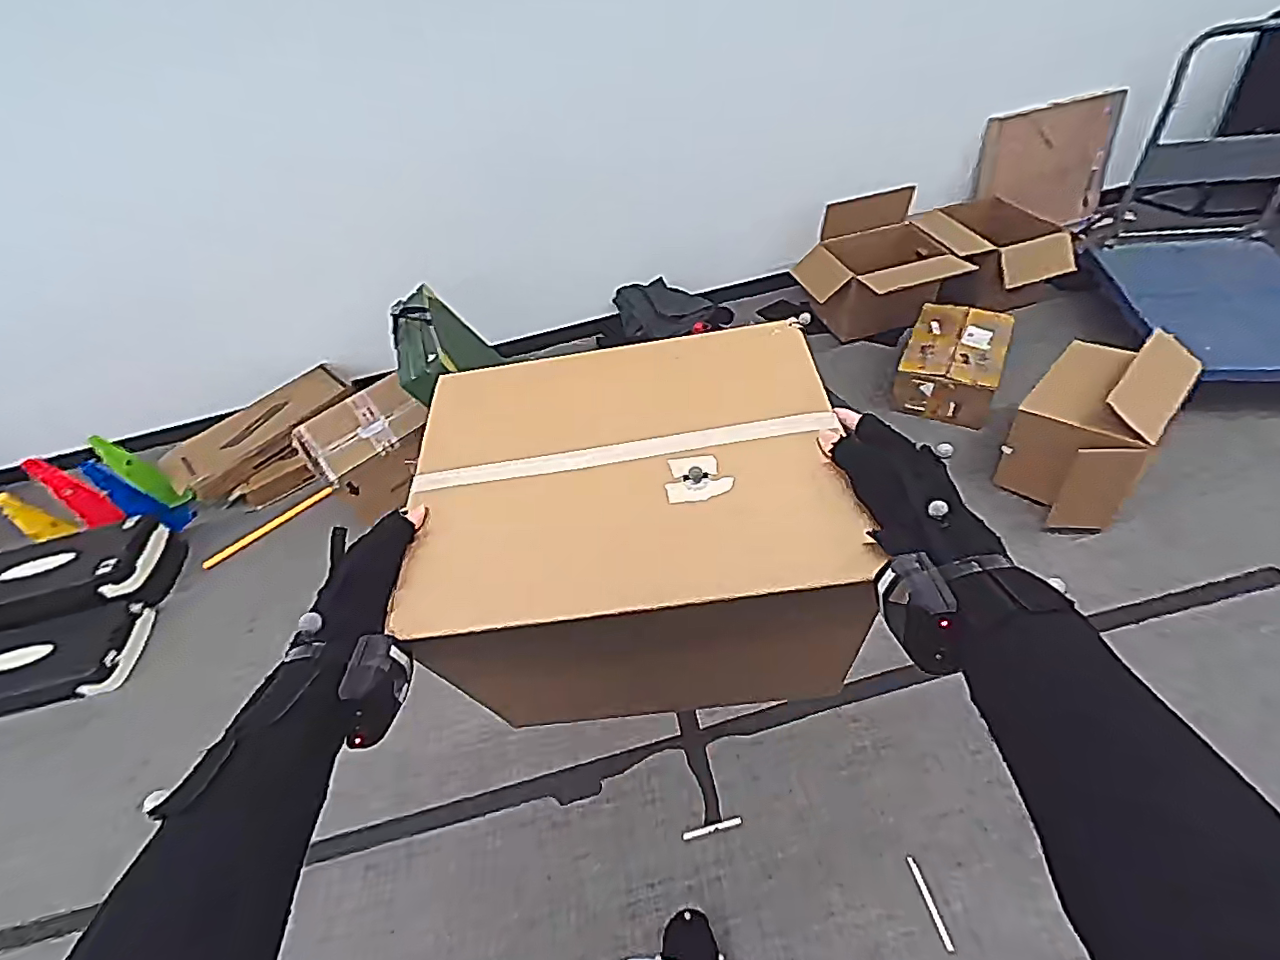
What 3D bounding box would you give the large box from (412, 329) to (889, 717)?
[{"bbox_3d":[0.010,0.065,0.645,0.408,0.320,0.320,-7,53,4],"label":"large box"}]
